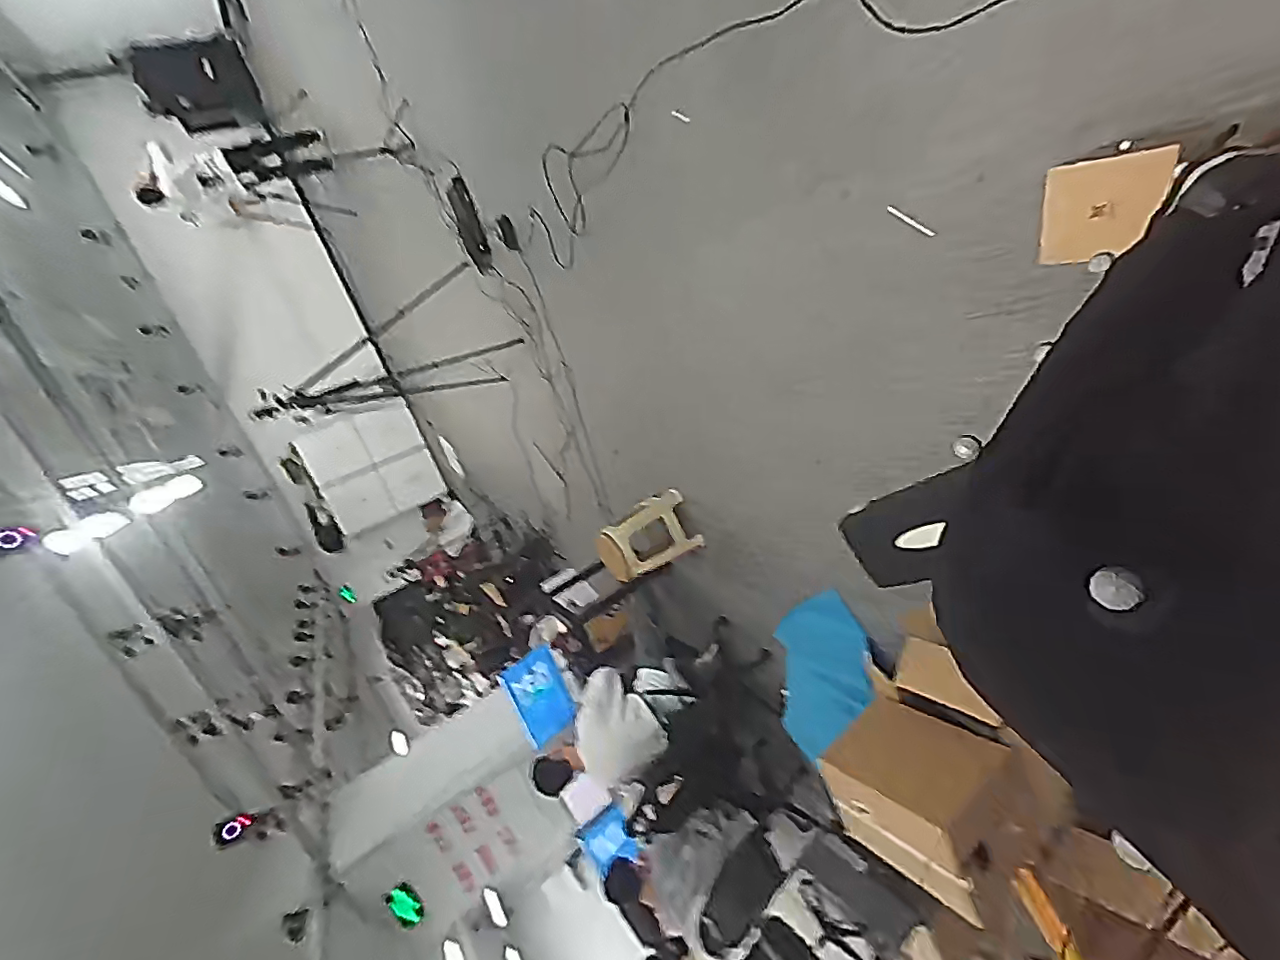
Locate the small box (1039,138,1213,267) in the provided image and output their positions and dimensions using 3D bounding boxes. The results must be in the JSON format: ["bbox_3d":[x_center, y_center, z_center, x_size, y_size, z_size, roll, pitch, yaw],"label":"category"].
[{"bbox_3d":[0.850,-0.484,0.955,0.179,0.176,0.168,22,133,51],"label":"small box"}]
